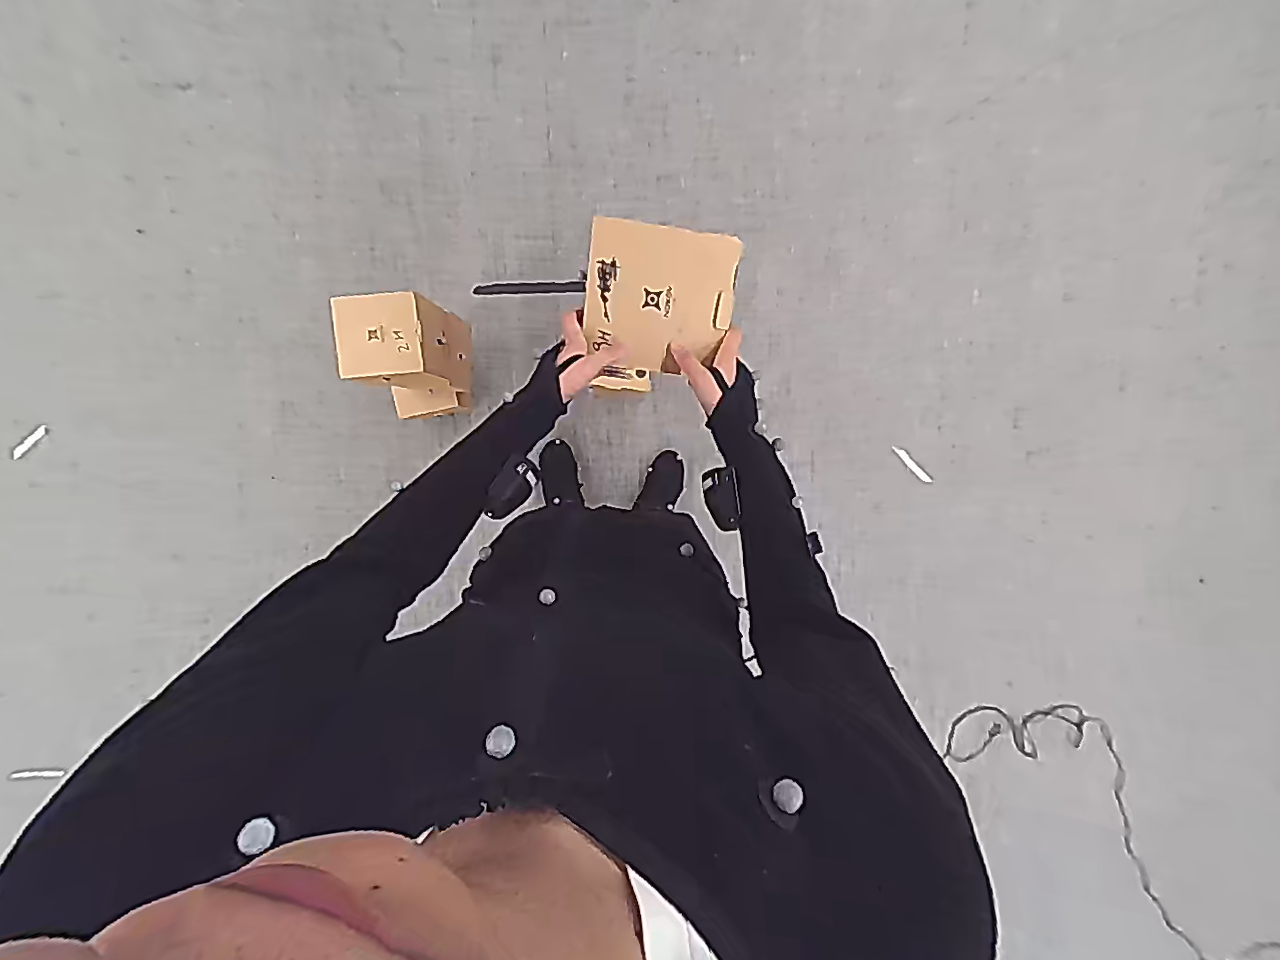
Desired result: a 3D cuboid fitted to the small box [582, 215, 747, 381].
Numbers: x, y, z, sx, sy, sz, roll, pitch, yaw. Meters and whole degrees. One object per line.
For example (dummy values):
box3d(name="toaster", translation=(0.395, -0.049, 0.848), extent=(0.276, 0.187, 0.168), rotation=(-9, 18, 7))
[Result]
box3d(name="small box", translation=(0.020, -0.228, 0.701), extent=(0.179, 0.176, 0.168), rotation=(6, 104, -6))

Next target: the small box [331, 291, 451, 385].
box3d(name="small box", translation=(-0.530, -0.300, 1.170), extent=(0.179, 0.176, 0.168), rotation=(-5, 95, -1))

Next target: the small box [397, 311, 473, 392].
box3d(name="small box", translation=(-0.520, -0.315, 1.334), extent=(0.168, 0.176, 0.179), rotation=(3, 95, -1))

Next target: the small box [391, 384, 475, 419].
box3d(name="small box", translation=(-0.576, -0.270, 1.501), extent=(0.168, 0.176, 0.179), rotation=(-12, 96, 0))

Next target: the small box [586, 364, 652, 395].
box3d(name="small box", translation=(-0.059, -0.326, 1.514), extent=(0.179, 0.176, 0.168), rotation=(-1, 96, -3))
